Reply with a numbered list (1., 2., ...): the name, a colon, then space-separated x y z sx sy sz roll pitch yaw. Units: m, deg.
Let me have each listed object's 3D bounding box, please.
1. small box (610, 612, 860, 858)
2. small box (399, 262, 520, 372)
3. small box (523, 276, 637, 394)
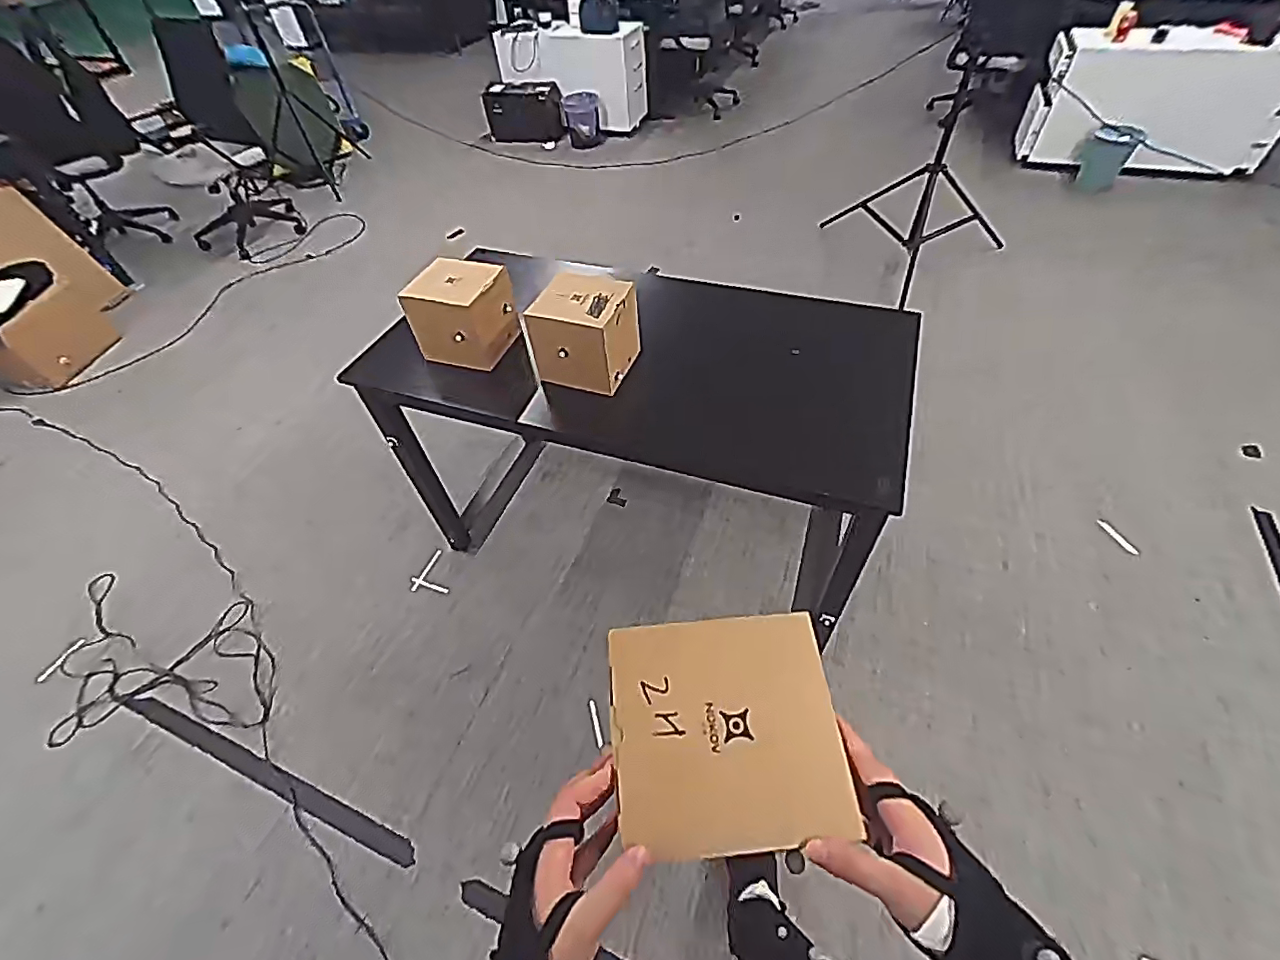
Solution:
1. small box: 0.065 0.229 0.489 0.179 0.176 0.168 -4 58 -3
2. small box: -0.393 -0.364 1.215 0.179 0.176 0.168 12 51 15
3. small box: -0.115 -0.302 1.139 0.179 0.176 0.168 14 53 17
